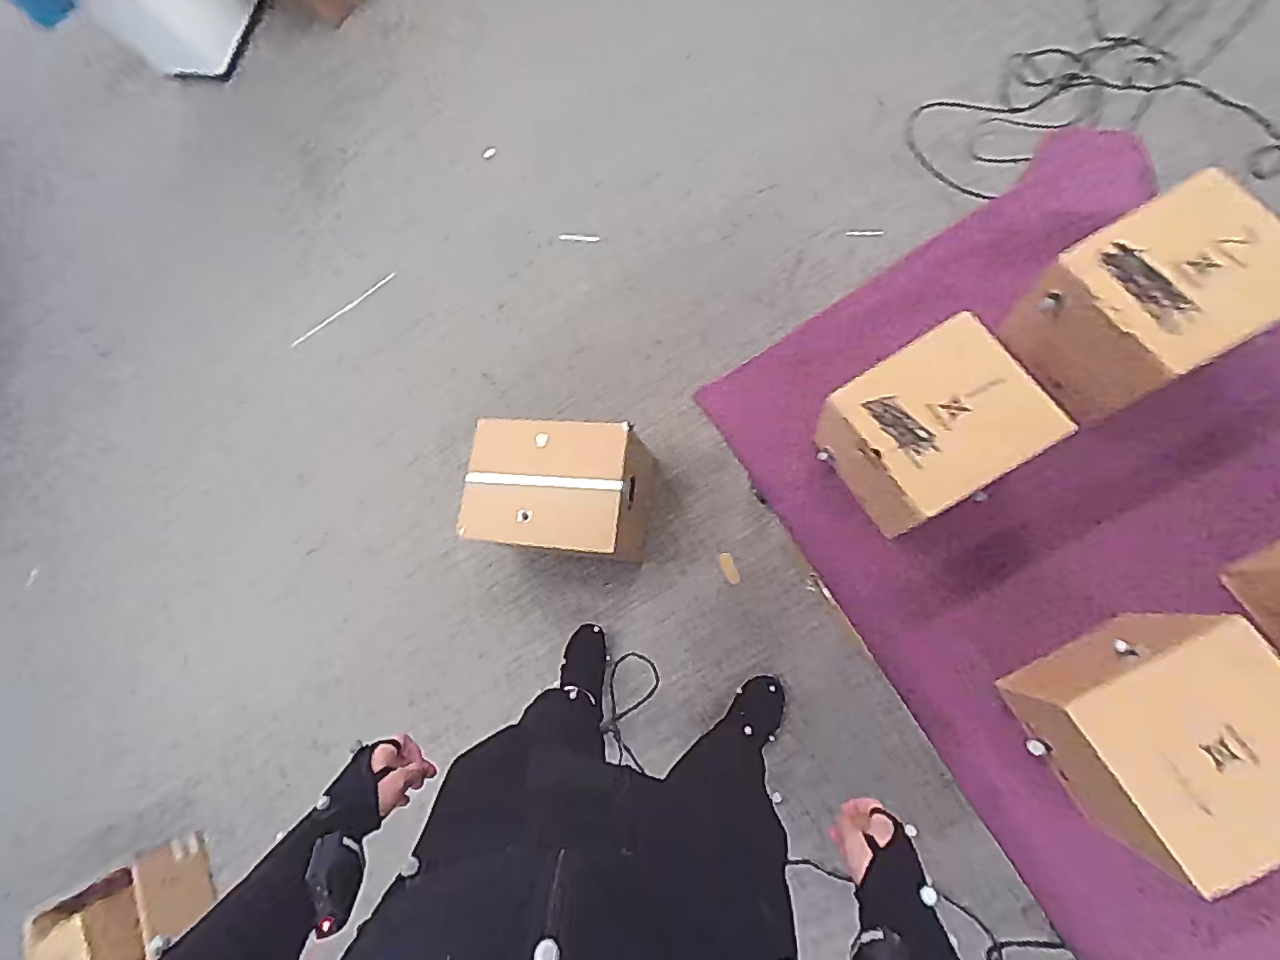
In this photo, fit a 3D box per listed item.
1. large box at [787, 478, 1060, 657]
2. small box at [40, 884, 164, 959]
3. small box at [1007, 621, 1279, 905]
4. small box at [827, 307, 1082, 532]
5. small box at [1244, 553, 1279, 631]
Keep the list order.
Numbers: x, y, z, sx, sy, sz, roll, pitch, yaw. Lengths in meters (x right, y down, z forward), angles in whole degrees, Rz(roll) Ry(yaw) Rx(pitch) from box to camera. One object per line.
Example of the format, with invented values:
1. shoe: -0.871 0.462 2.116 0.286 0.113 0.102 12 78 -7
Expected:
1. large box: 0.588 0.153 1.219 0.408 0.320 0.320 -31 73 4
2. small box: -1.487 1.272 1.502 0.168 0.176 0.179 -34 72 4
3. small box: 0.508 0.245 0.520 0.179 0.176 0.168 -30 71 5
4. small box: 0.336 -0.055 0.628 0.179 0.176 0.168 -32 73 3
5. small box: 0.749 0.115 0.491 0.179 0.176 0.168 -30 73 7
